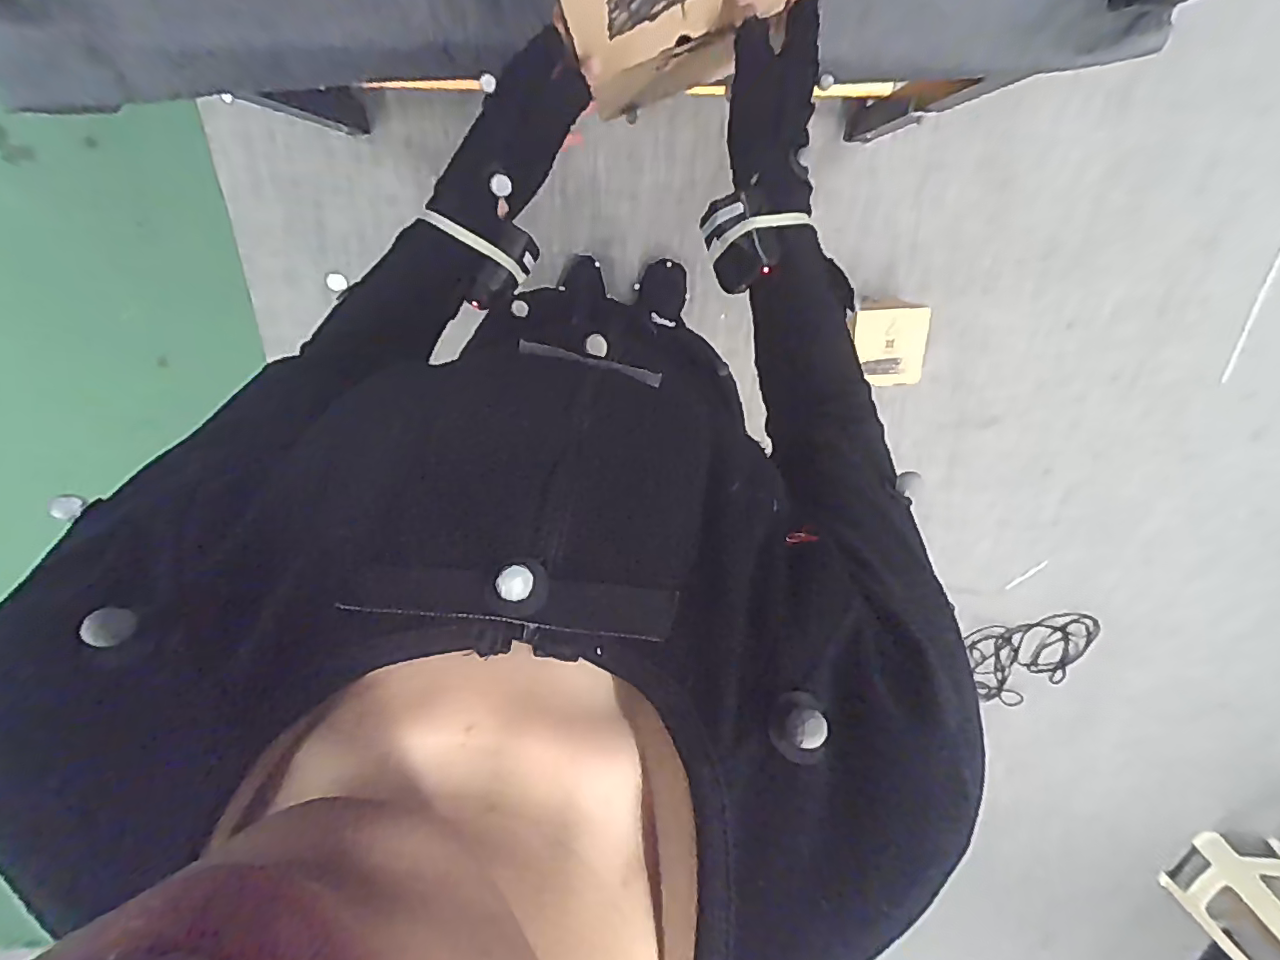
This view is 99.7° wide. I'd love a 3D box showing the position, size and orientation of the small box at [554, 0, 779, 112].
[{"bbox_3d":[0.007,-0.441,0.460,0.168,0.176,0.179,-15,114,7],"label":"small box"}]
